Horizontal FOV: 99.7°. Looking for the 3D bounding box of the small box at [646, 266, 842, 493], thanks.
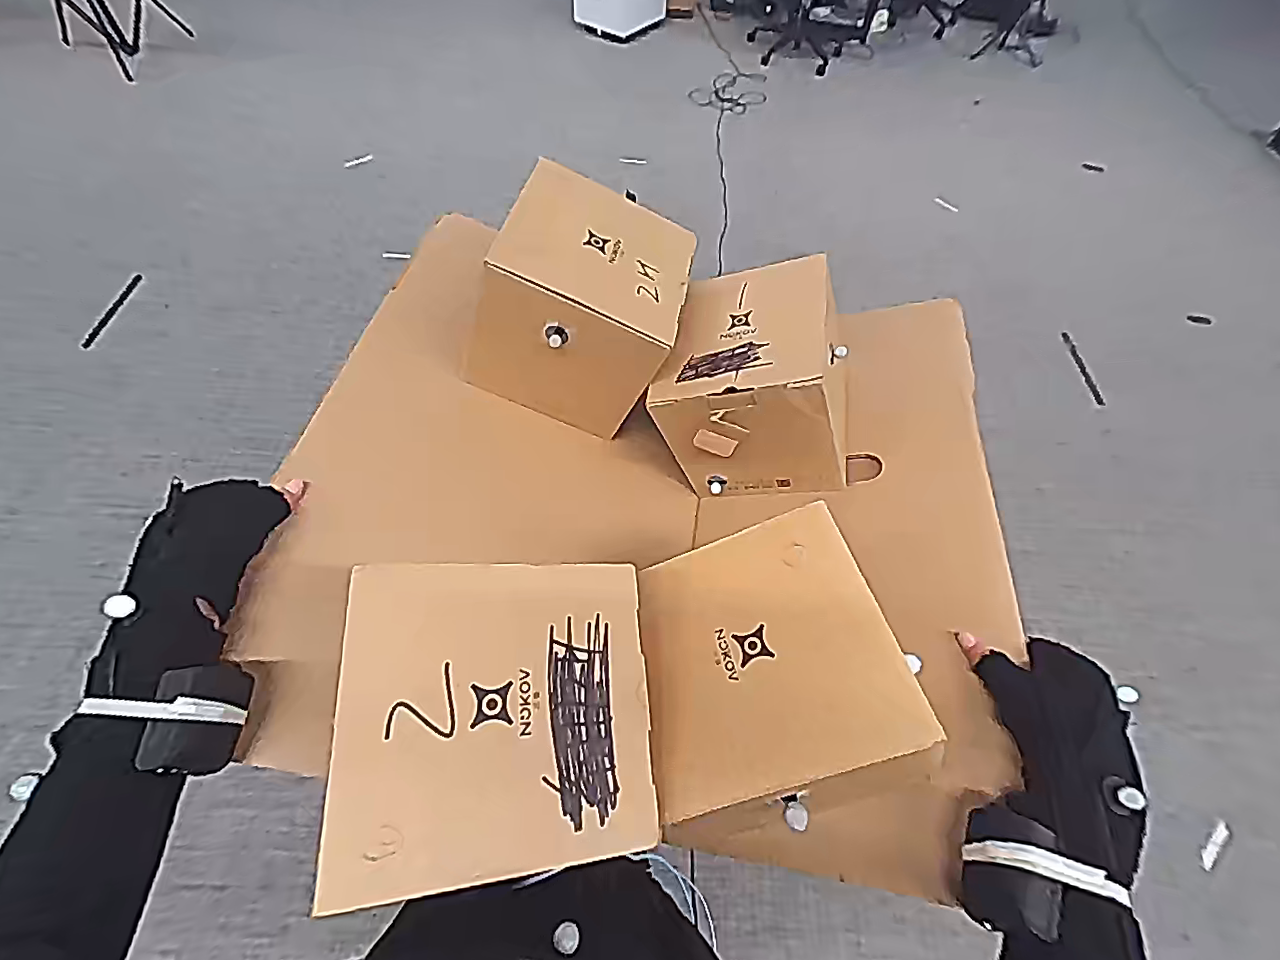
[{"bbox_3d":[0.126,-0.095,0.593,0.168,0.176,0.179,-3,53,25],"label":"small box"}]
